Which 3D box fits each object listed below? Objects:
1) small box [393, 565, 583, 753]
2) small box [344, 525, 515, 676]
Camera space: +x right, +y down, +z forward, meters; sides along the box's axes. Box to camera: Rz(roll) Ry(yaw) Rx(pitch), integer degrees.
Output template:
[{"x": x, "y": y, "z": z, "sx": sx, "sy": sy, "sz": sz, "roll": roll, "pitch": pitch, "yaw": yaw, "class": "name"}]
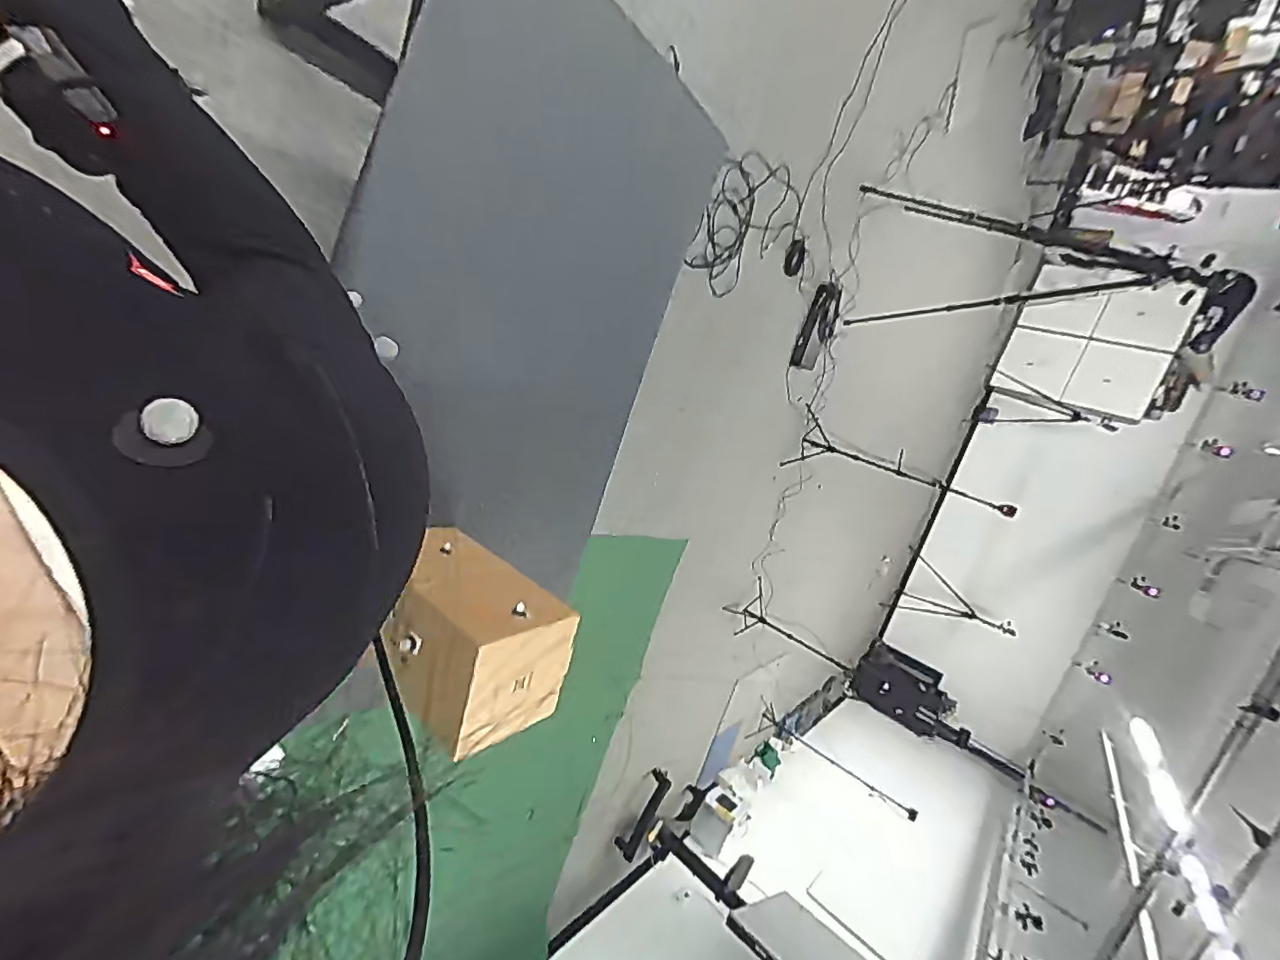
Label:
[{"x": -0.213, "y": 0.233, "z": 0.761, "sx": 0.179, "sy": 0.176, "sz": 0.168, "roll": -2, "pitch": 110, "yaw": -53, "class": "small box"}, {"x": -0.335, "y": 0.178, "z": 0.854, "sx": 0.179, "sy": 0.176, "sz": 0.168, "roll": 3, "pitch": 107, "yaw": -56, "class": "small box"}]
